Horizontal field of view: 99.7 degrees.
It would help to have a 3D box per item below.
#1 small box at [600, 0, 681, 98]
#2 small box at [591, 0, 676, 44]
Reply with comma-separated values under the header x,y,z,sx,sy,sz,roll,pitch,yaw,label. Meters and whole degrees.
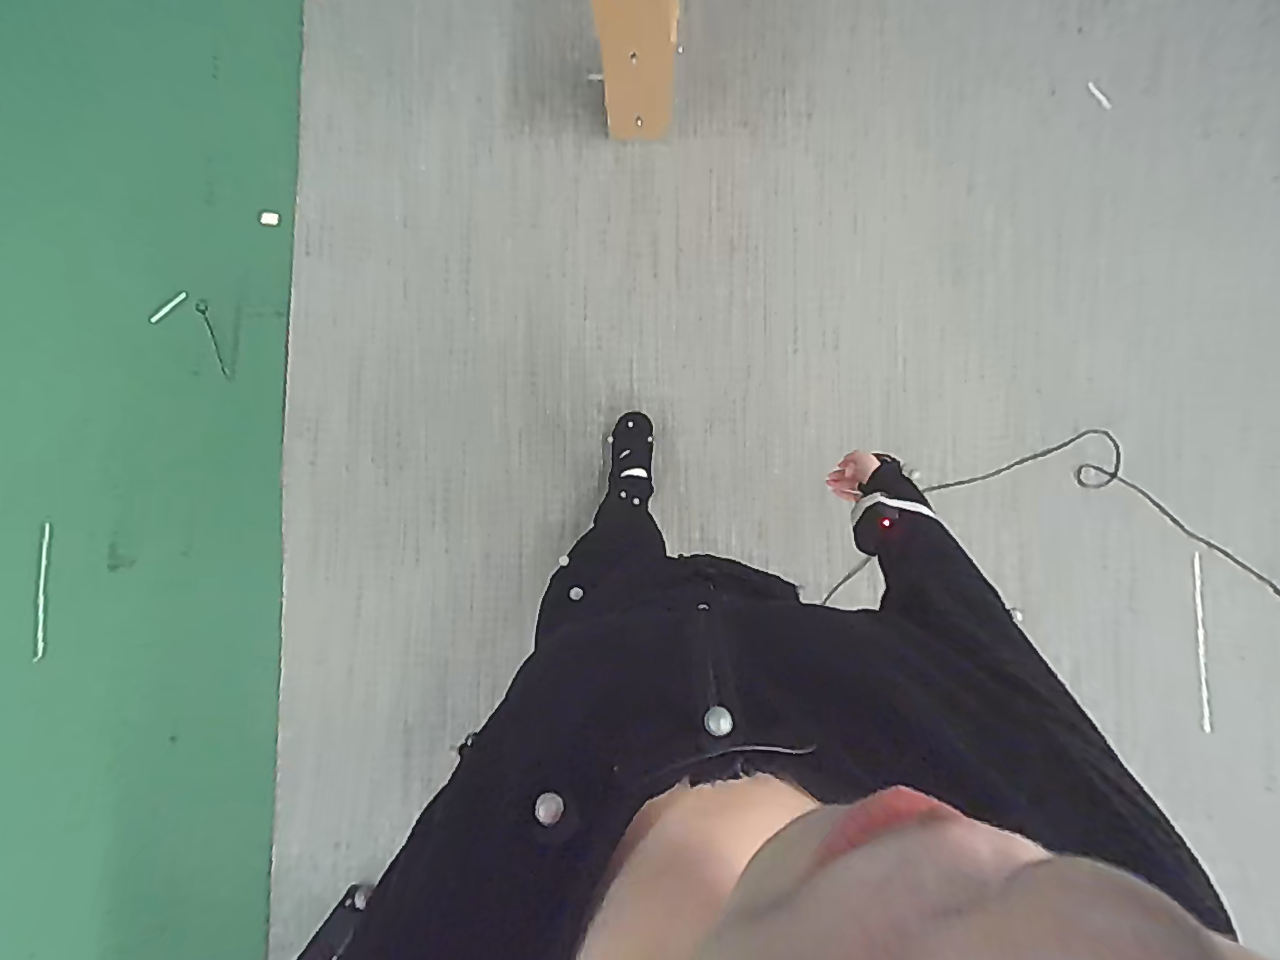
x,y,z,sx,sy,sz,roll,pitch,yaw,label
0.003,-1.059,1.299,0.179,0.176,0.168,3,88,1,small box
-0.011,-1.067,1.136,0.179,0.176,0.168,7,87,1,small box
